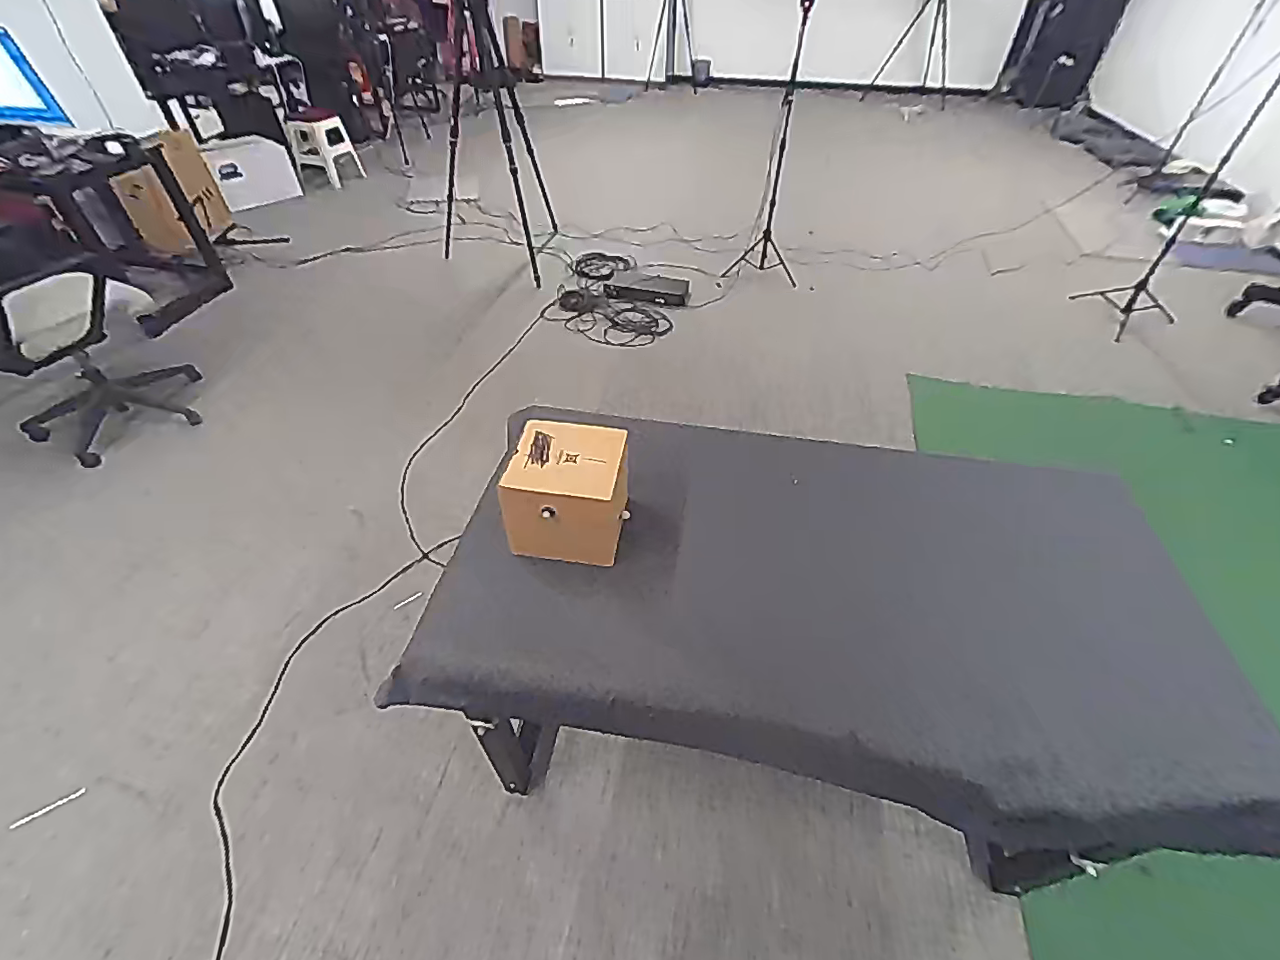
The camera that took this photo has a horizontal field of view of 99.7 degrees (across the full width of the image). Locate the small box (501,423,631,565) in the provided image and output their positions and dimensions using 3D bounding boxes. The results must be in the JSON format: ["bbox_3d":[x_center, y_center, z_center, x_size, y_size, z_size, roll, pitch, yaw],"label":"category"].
[{"bbox_3d":[-0.114,0.025,0.916,0.179,0.176,0.168,7,45,4],"label":"small box"}]
